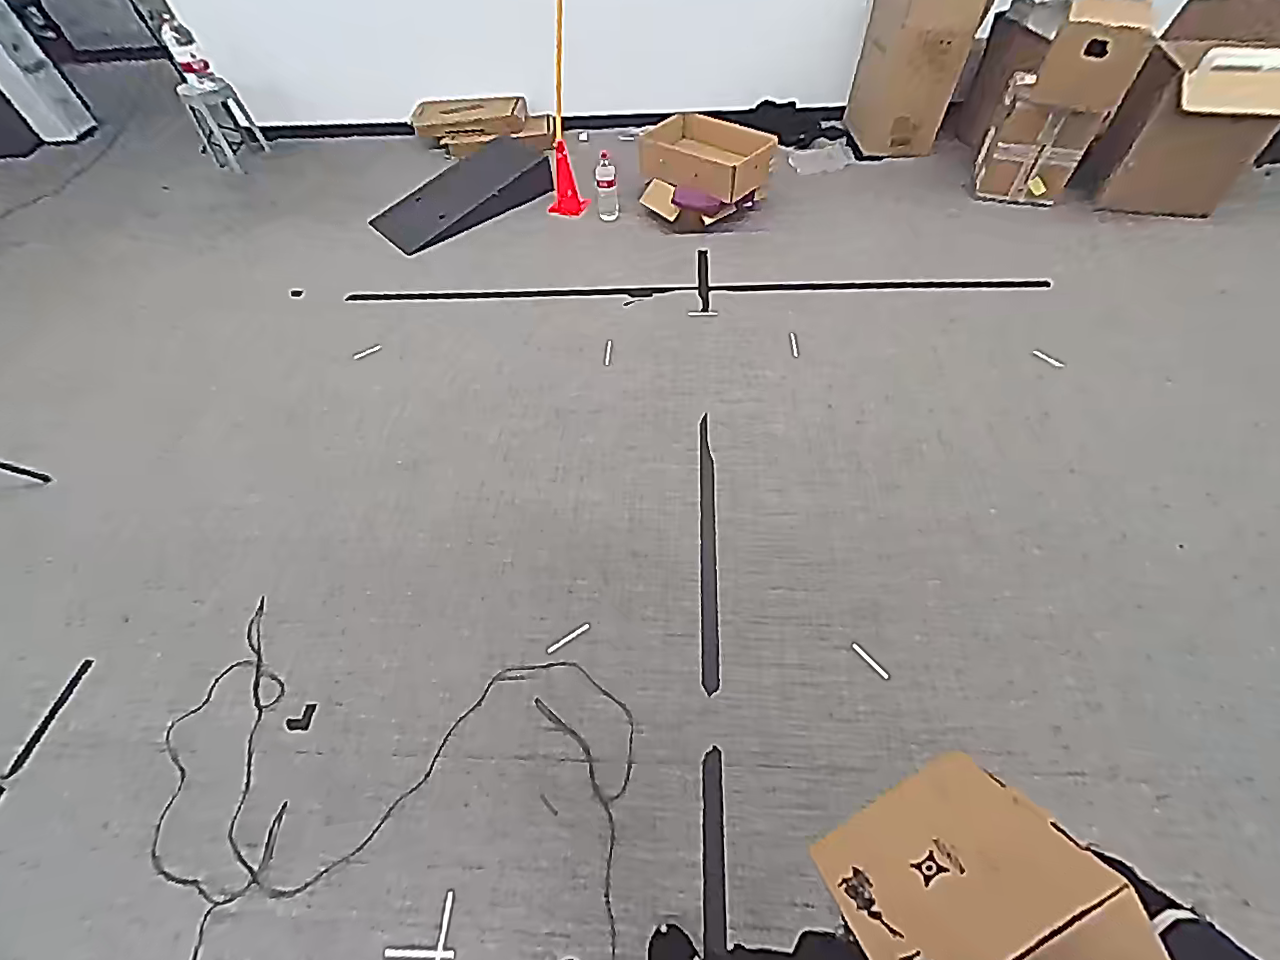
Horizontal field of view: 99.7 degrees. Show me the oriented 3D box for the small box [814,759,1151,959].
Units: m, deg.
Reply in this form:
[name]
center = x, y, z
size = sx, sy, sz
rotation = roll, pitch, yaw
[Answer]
[small box]
center = 0.286, 0.387, 0.448
size = 0.179, 0.168, 0.176
rotation = -30, 94, -4
